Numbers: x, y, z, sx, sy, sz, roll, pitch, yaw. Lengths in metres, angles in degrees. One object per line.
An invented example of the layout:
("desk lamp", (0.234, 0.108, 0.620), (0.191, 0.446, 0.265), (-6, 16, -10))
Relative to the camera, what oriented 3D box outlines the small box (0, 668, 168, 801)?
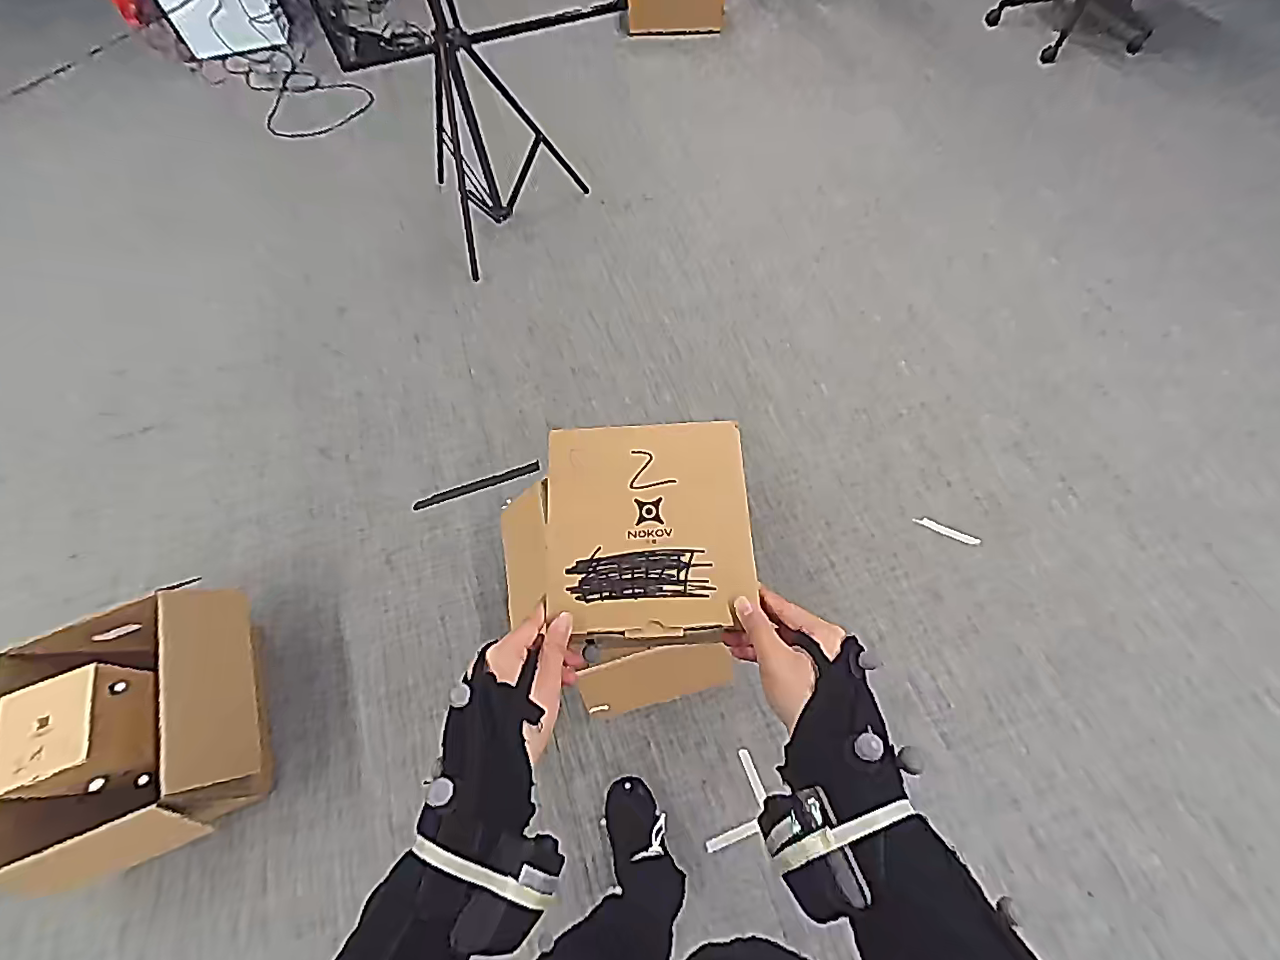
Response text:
("small box", (-1.037, 0.480, 1.016), (0.168, 0.176, 0.179), (-20, 63, -7))
